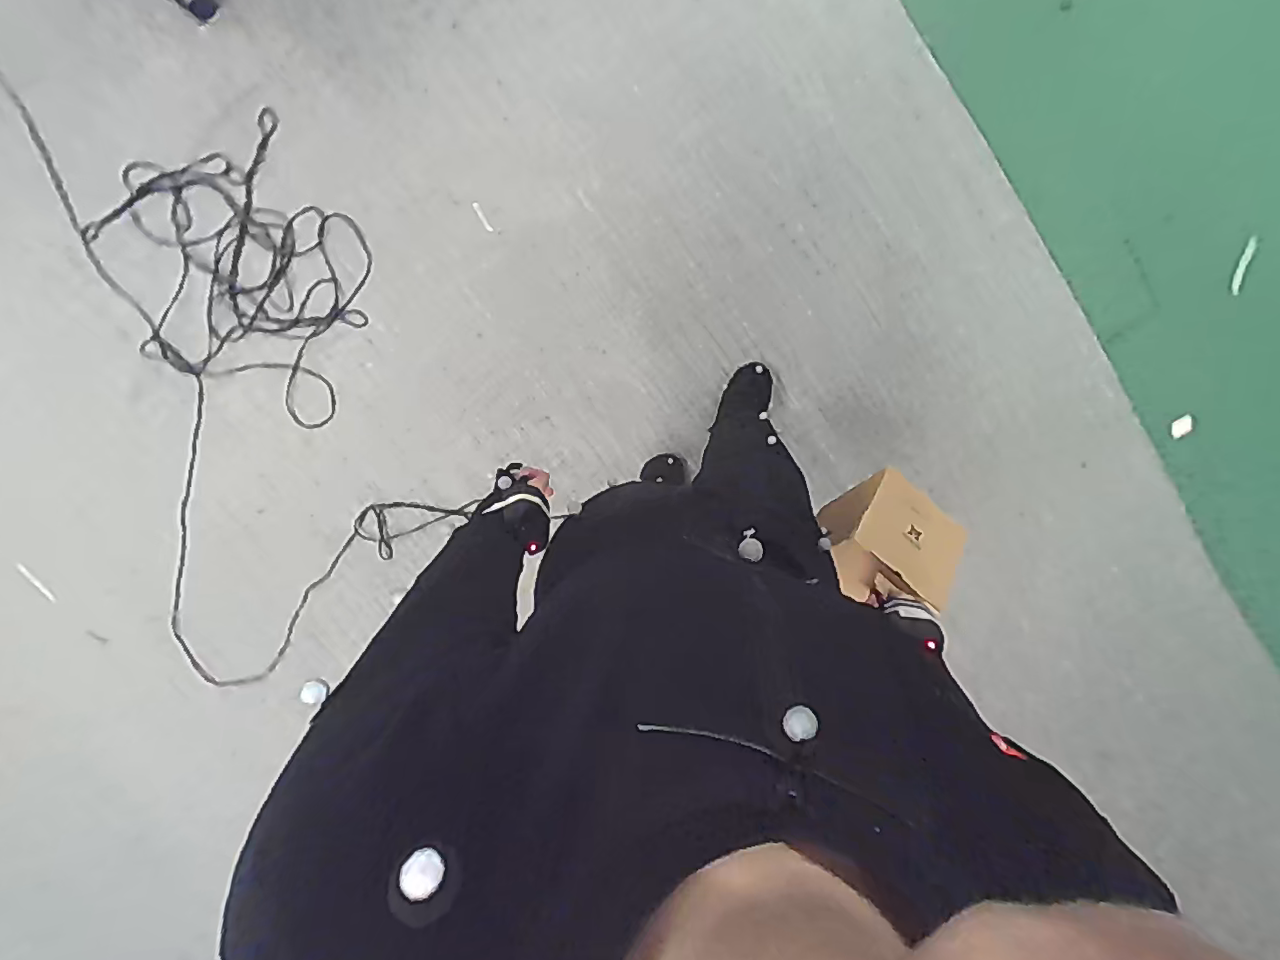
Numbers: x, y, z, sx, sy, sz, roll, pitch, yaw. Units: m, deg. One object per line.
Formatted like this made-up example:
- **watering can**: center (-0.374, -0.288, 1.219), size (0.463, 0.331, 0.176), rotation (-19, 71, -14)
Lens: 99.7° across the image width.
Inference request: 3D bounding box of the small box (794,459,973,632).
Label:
- **small box**: center (0.368, 0.108, 0.836), size (0.168, 0.179, 0.176), rotation (41, 143, 1)
